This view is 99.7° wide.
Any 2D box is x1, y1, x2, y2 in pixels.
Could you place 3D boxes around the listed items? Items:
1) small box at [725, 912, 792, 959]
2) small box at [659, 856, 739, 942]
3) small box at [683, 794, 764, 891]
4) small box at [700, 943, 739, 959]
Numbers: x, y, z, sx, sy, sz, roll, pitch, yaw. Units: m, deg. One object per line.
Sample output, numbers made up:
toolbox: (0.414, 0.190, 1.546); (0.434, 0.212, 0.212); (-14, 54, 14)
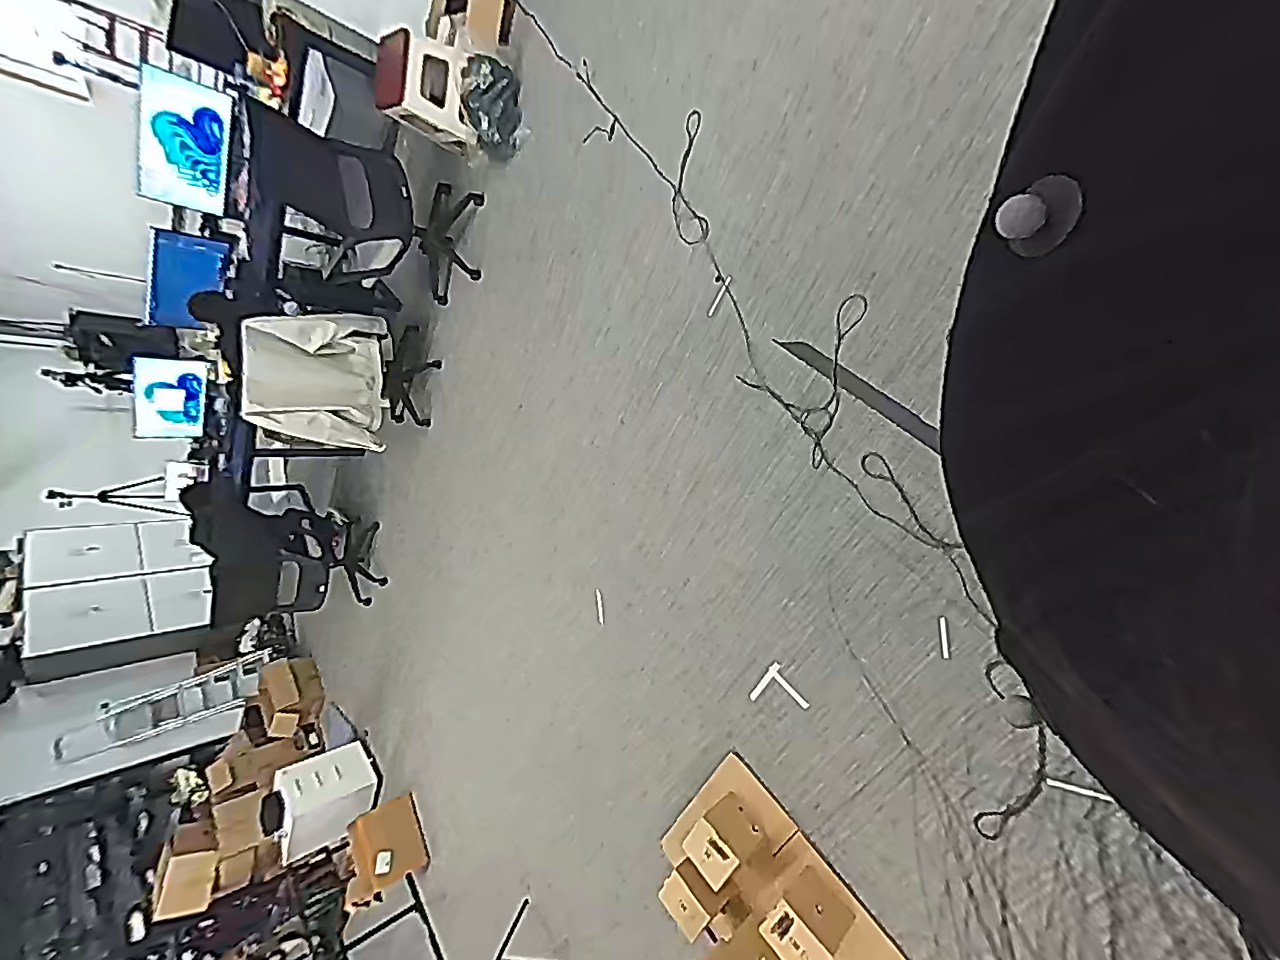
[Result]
small box: (0.355, 1.549, 1.723); (0.179, 0.176, 0.168); (39, 117, 34)
small box: (0.204, 1.414, 1.861); (0.179, 0.176, 0.168); (39, 119, 34)
small box: (0.279, 1.179, 1.772); (0.168, 0.176, 0.179); (40, 119, 34)
small box: (0.228, 1.542, 1.616); (0.179, 0.176, 0.168); (43, 121, 33)
